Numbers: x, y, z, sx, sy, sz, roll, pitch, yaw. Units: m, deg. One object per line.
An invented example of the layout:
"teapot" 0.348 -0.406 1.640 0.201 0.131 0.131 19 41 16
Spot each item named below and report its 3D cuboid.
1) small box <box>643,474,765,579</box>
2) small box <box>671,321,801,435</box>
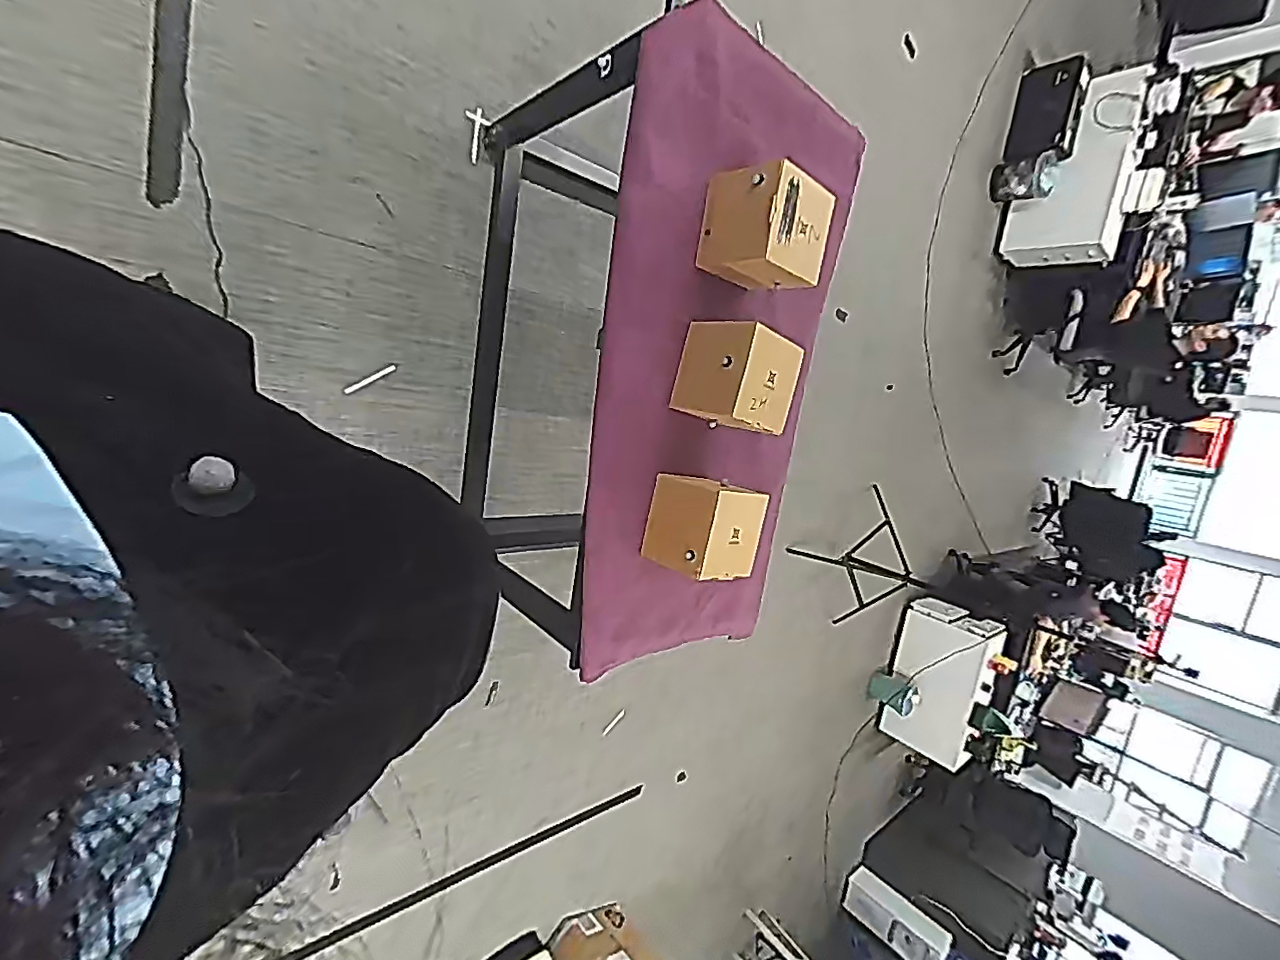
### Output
"small box" 0.126 0.089 1.104 0.168 0.176 0.179 6 99 -44
"small box" 0.186 -0.202 1.069 0.168 0.176 0.179 12 95 -43
